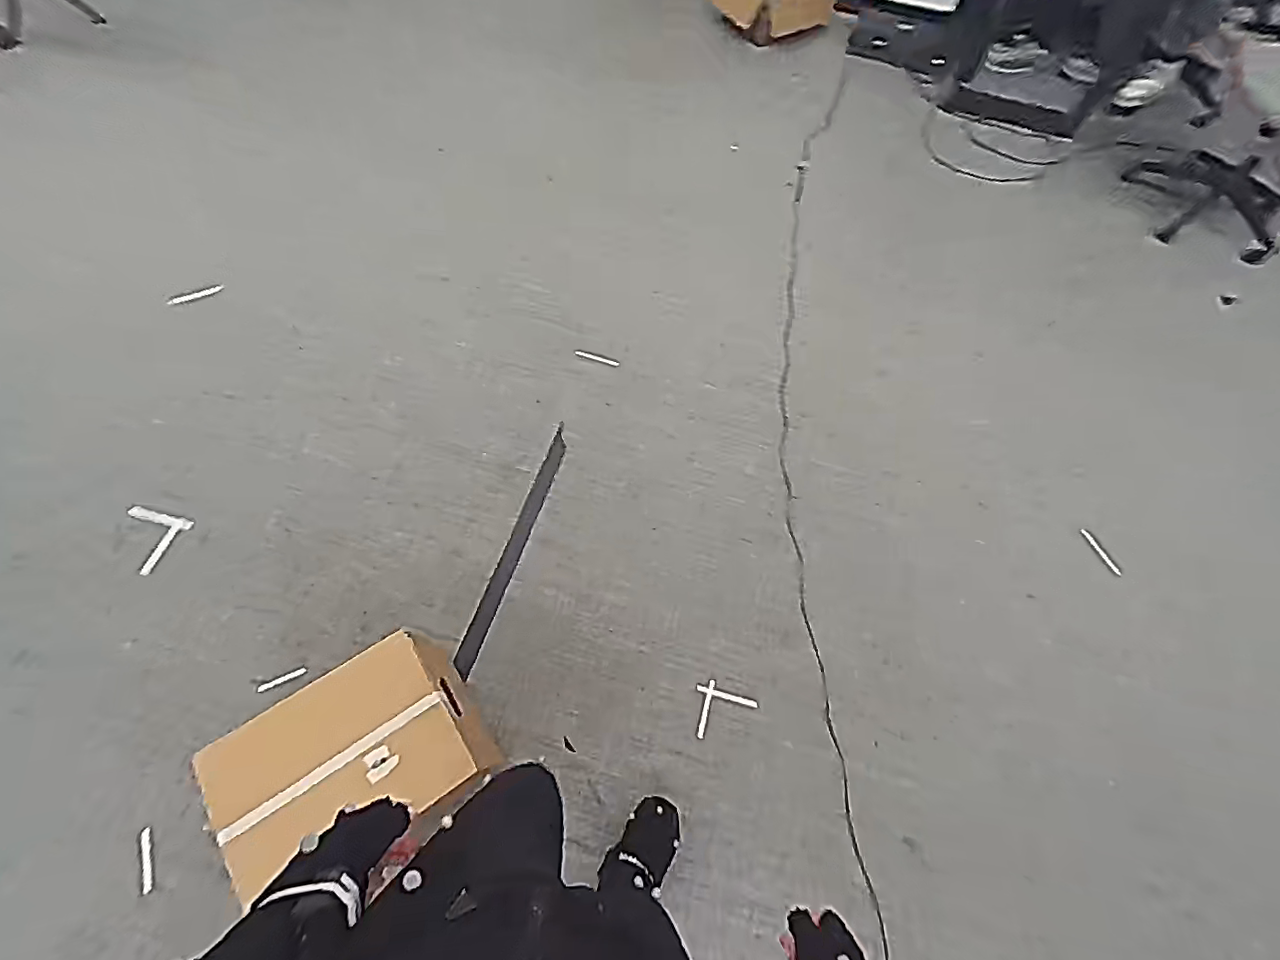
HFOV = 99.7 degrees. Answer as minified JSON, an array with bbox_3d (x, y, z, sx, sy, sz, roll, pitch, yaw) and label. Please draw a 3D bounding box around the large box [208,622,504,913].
[{"bbox_3d":[-0.550,0.565,1.122,0.408,0.320,0.320,-31,71,-18],"label":"large box"}]
